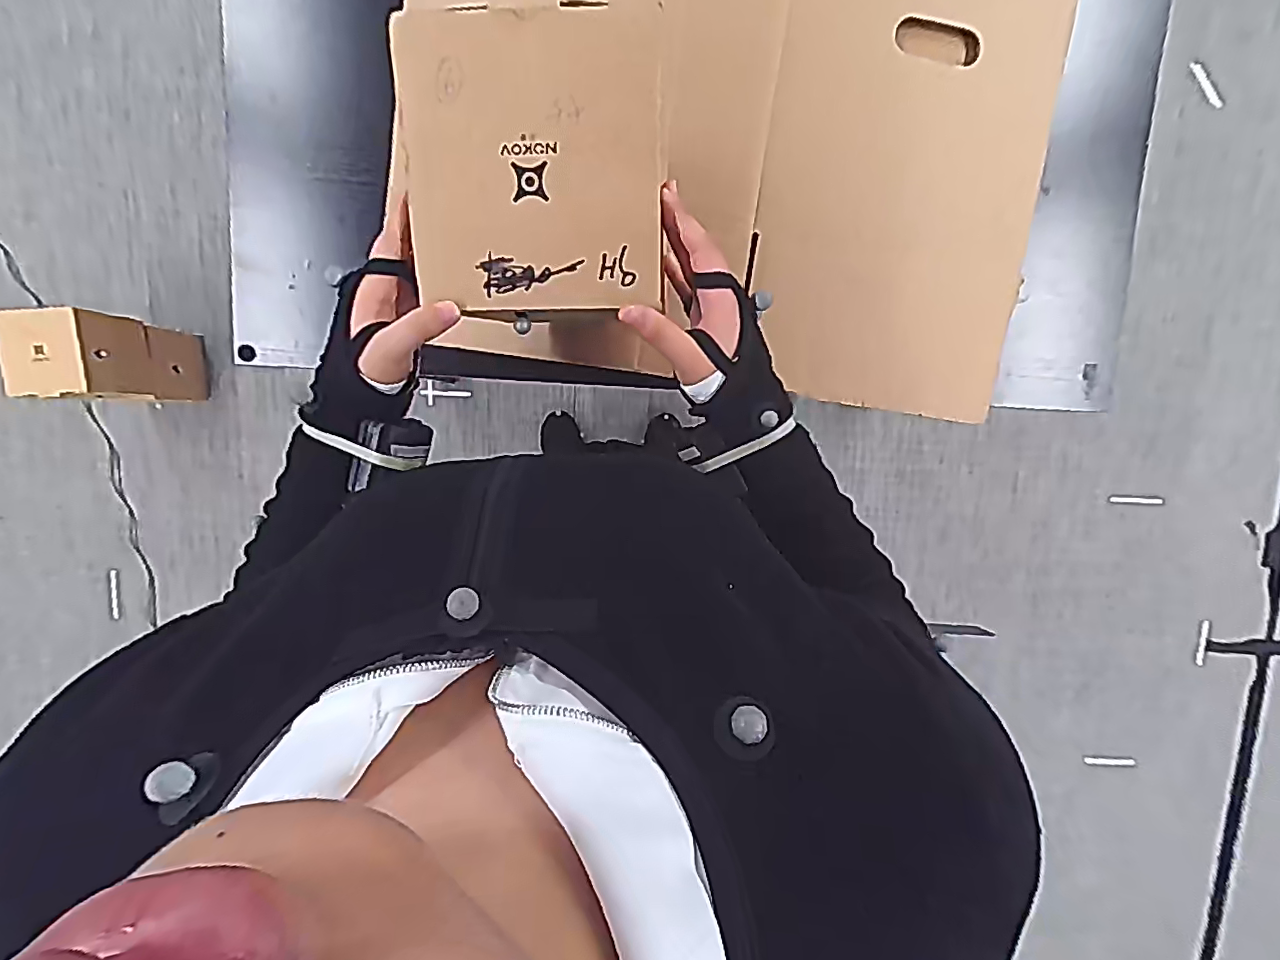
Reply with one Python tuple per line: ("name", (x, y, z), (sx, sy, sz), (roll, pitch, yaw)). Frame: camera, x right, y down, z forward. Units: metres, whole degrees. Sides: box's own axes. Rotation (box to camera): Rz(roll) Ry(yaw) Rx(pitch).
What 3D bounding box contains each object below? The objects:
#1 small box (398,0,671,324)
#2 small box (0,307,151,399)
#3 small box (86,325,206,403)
("small box", (-0.061, -0.217, 0.419), (0.168, 0.176, 0.179), (1, 103, 4))
("small box", (-1.226, -0.270, 1.181), (0.168, 0.176, 0.179), (-4, 96, -2))
("small box", (-1.228, -0.283, 1.343), (0.168, 0.176, 0.179), (-1, 98, -1))
